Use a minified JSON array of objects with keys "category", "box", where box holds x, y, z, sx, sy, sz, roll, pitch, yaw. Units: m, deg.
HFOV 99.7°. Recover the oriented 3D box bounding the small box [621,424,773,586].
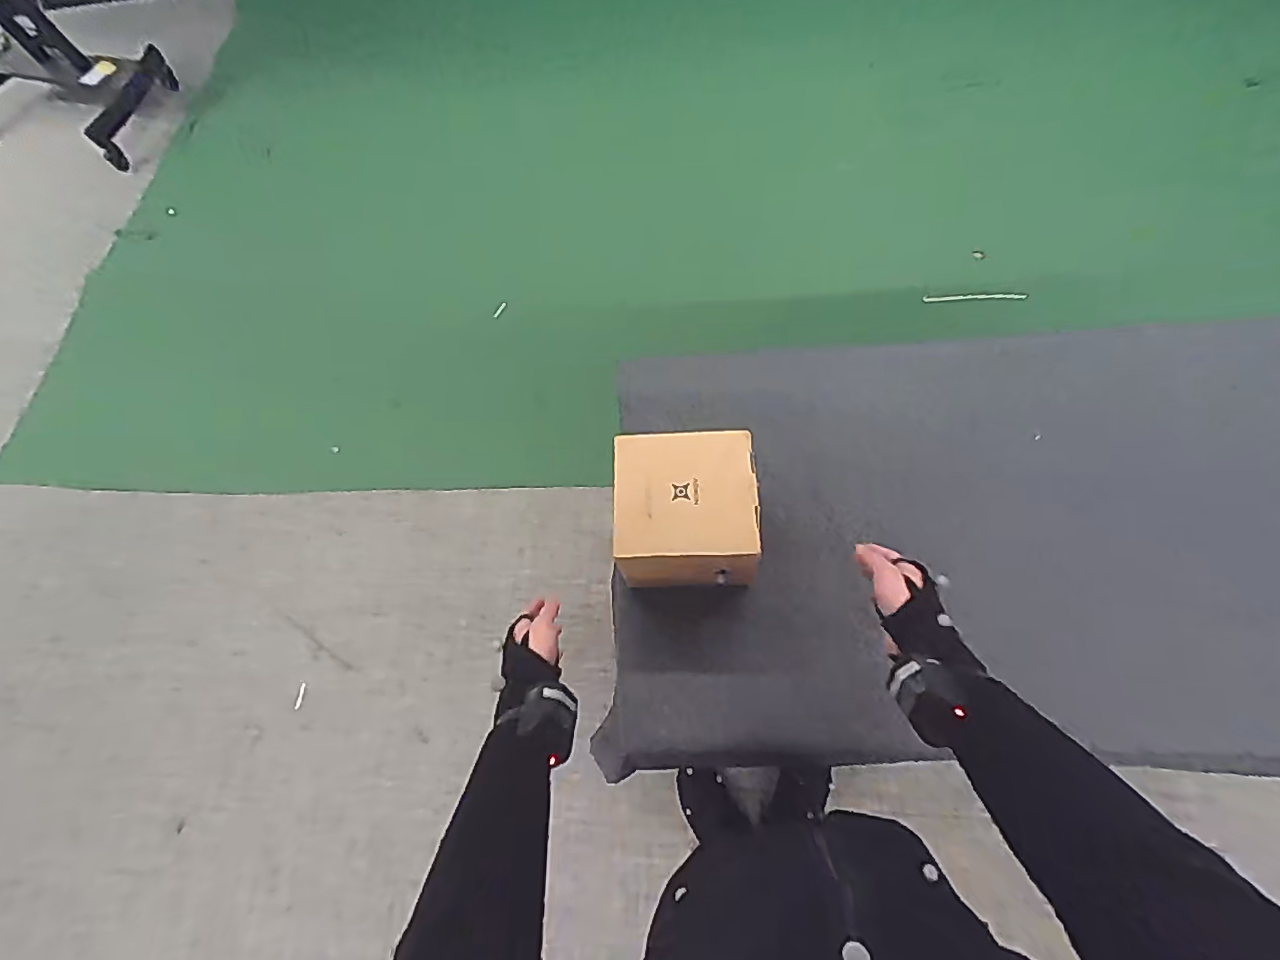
[{"category":"small box","box":[0.069,0.040,0.720,0.179,0.176,0.168,-3,64,3]}]
